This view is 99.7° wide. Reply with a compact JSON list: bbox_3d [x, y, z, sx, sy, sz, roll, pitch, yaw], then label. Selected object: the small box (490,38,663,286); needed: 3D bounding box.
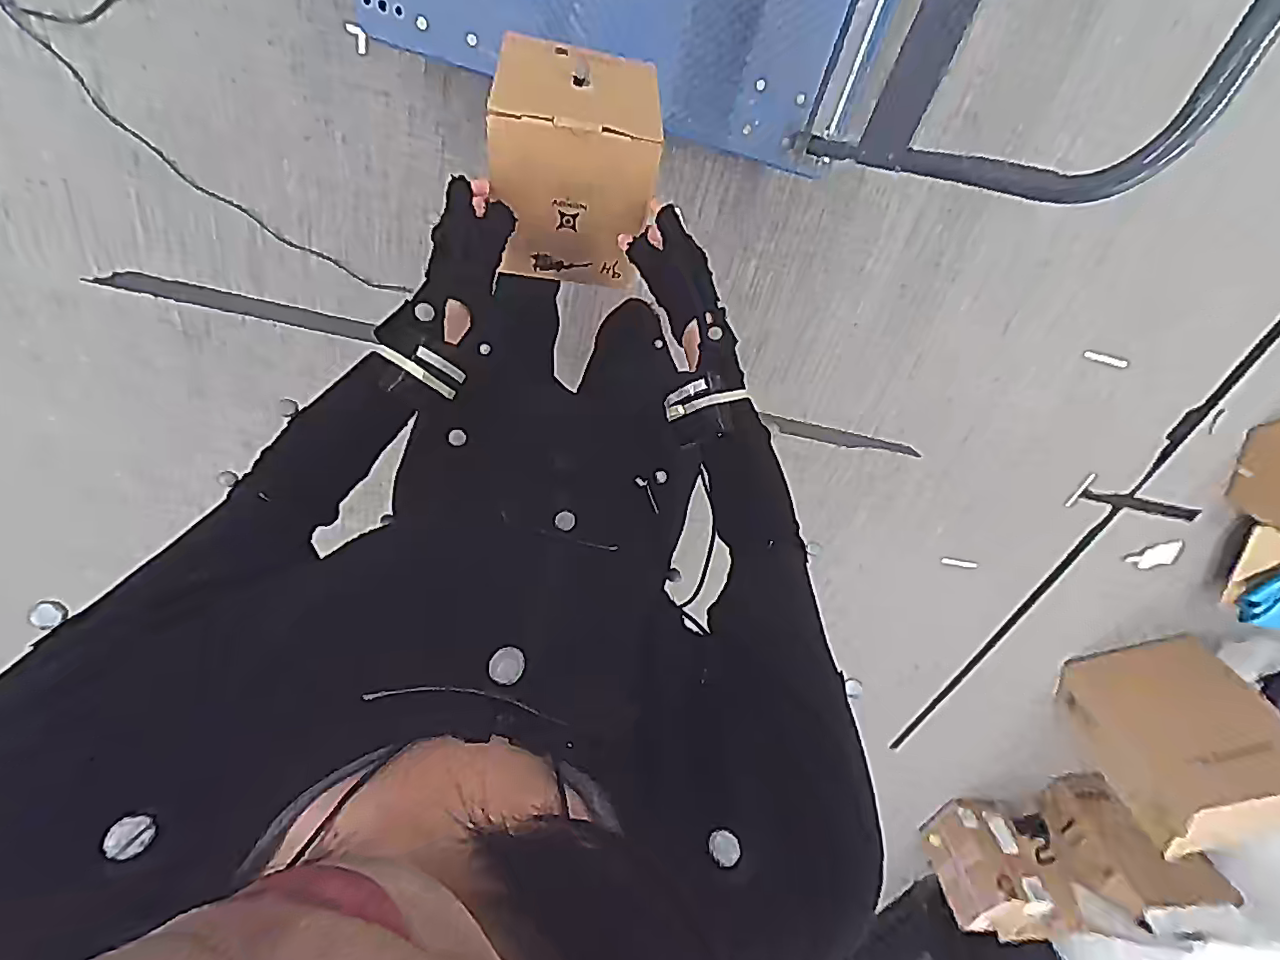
[{"bbox_3d":[-0.079,-0.355,0.612,0.168,0.176,0.179,5,146,-11],"label":"small box"}]
